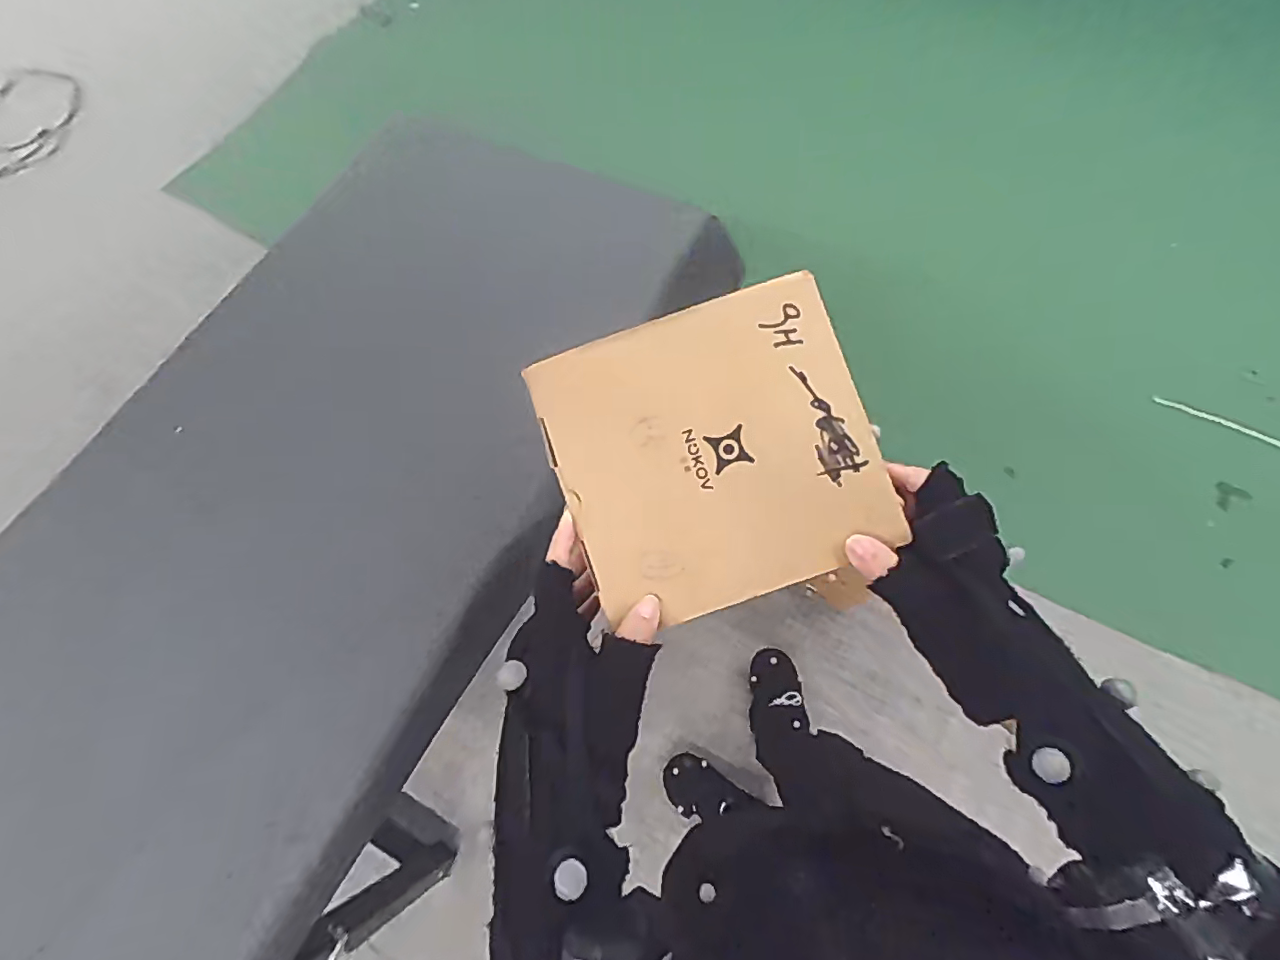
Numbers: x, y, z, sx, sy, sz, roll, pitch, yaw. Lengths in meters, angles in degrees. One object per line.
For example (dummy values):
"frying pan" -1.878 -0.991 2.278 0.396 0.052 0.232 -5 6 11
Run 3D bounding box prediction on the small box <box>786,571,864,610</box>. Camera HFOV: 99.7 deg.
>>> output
"small box" 0.458 0.183 1.273 0.168 0.176 0.179 29 74 15

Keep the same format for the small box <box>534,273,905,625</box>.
"small box" 0.046 -0.012 0.385 0.179 0.176 0.168 -17 86 2

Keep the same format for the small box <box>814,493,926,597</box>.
"small box" 0.449 0.118 1.121 0.168 0.176 0.179 30 74 15
